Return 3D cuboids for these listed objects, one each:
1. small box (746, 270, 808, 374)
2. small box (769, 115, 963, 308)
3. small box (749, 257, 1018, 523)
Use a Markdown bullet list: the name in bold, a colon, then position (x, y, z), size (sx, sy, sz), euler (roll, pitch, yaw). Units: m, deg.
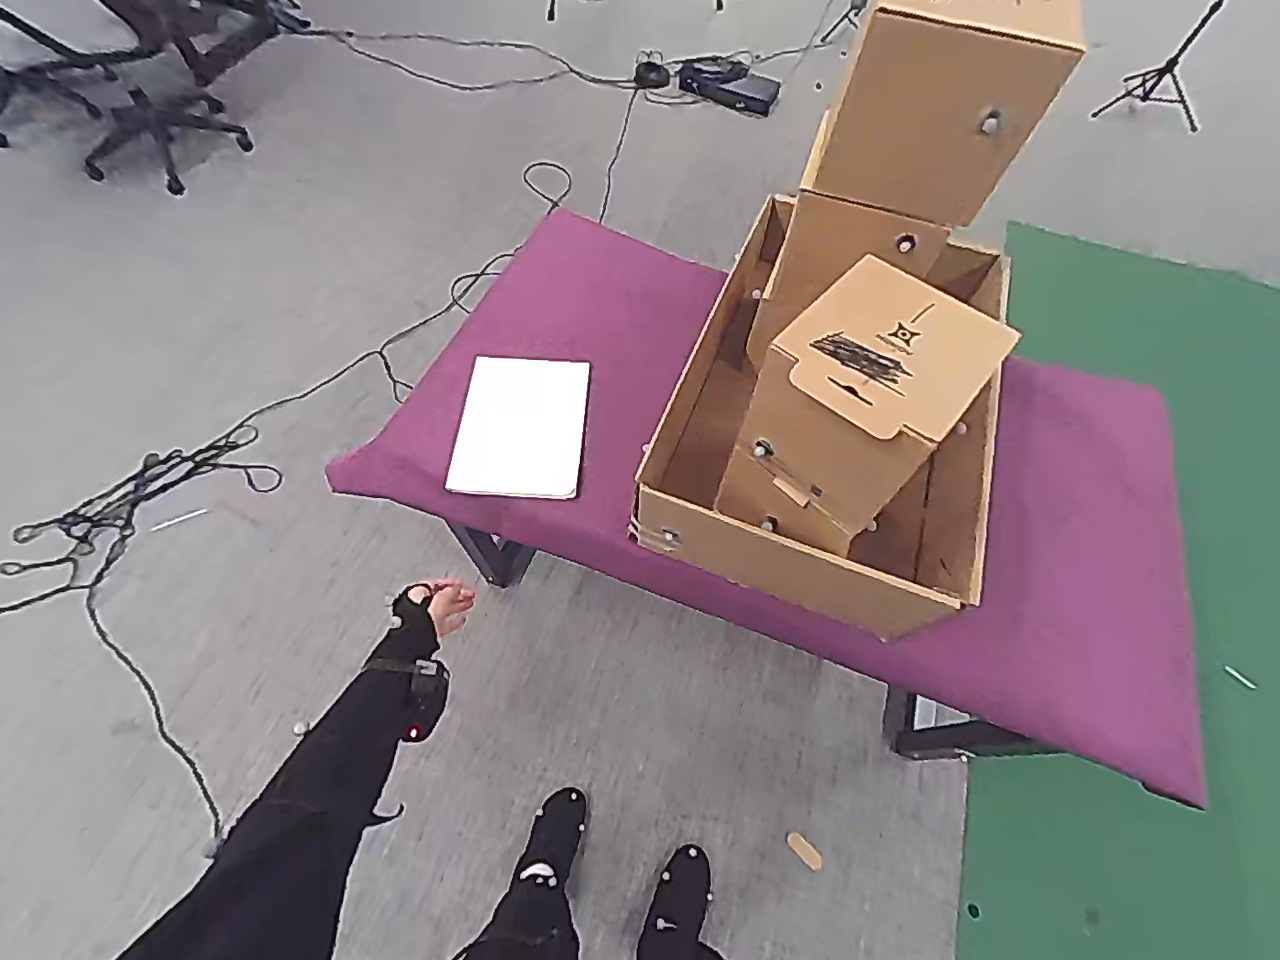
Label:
- **small box**: position (0.274, -0.256, 0.846), size (0.168, 0.176, 0.179), euler (20, 64, 9)
- **small box**: position (0.282, -0.327, 0.700), size (0.179, 0.176, 0.168), euler (18, 64, 7)
- **small box**: position (0.231, -0.086, 0.560), size (0.168, 0.176, 0.179), euler (39, 65, 19)
